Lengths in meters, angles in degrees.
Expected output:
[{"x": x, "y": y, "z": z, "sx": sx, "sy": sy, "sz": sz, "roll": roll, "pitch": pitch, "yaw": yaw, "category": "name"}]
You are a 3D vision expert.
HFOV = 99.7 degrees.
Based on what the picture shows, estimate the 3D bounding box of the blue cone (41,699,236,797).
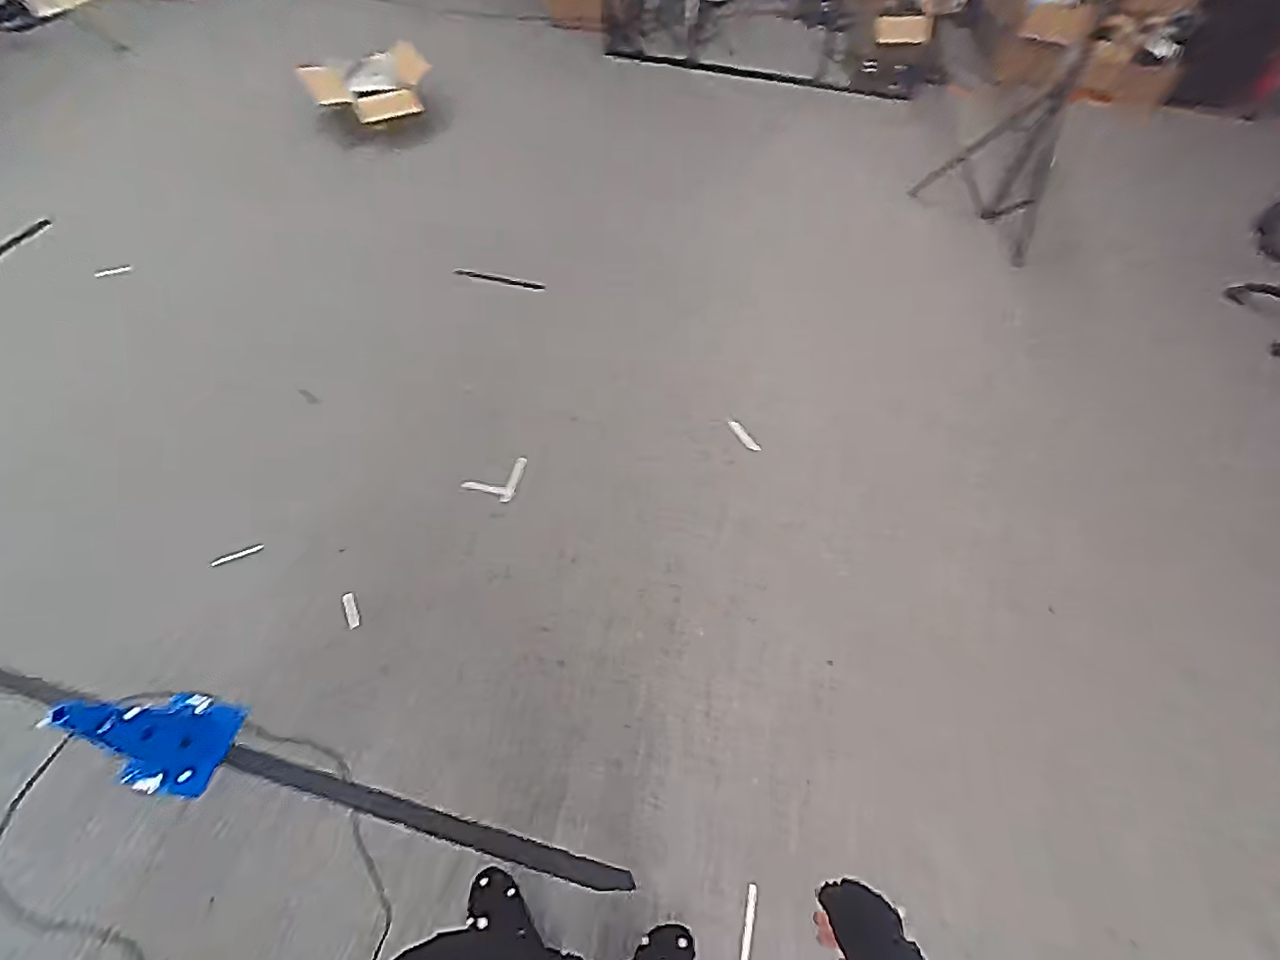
[{"x": -1.050, "y": 0.521, "z": 1.112, "sx": 0.193, "sy": 0.380, "sz": 0.192, "roll": 10, "pitch": 55, "yaw": 2, "category": "blue cone"}]
